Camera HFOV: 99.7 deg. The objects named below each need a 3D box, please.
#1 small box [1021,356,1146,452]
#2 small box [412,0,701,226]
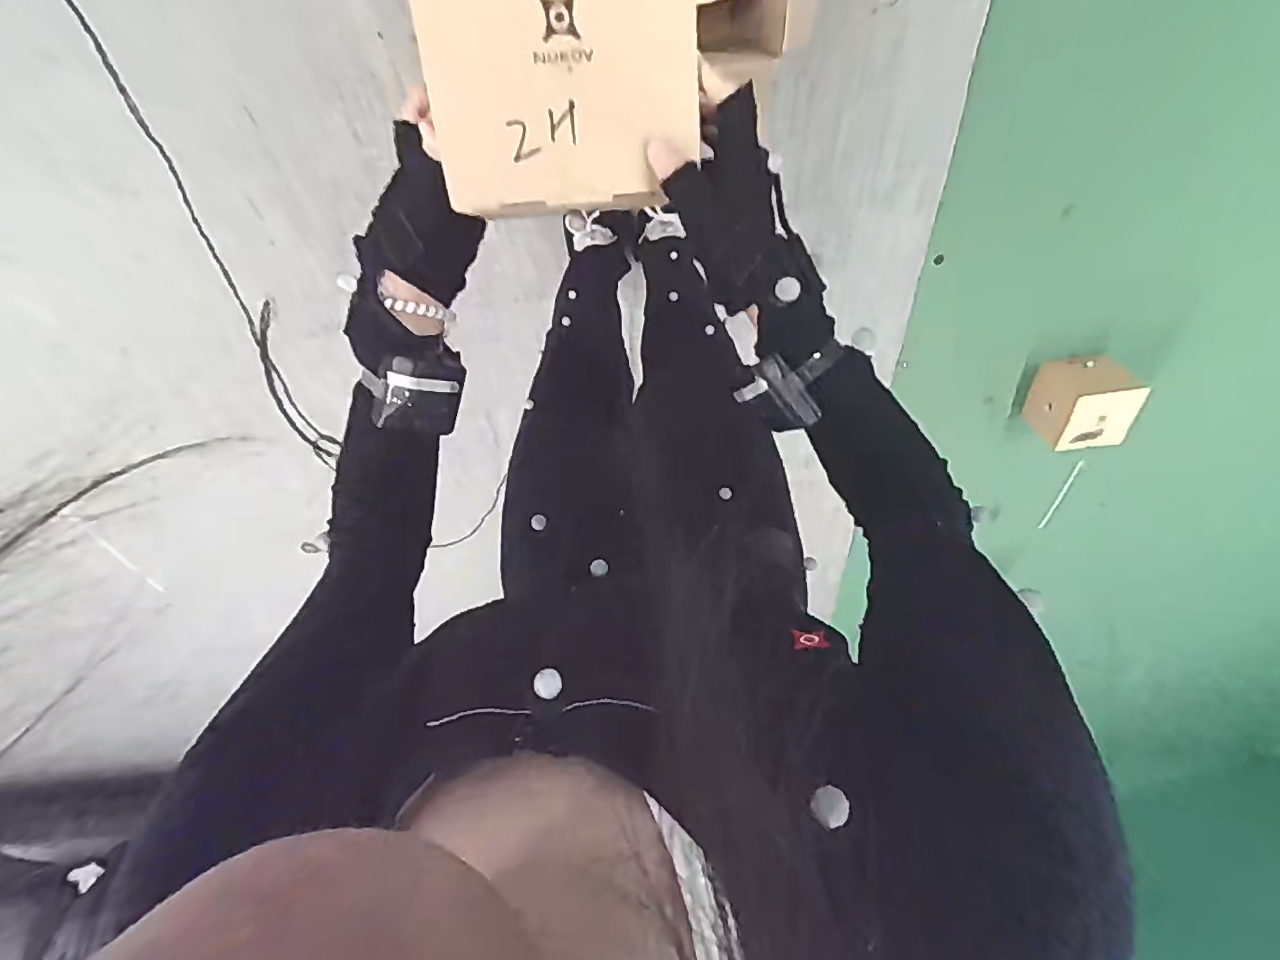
[{"bbox_3d":[1.138,-0.199,1.409,0.168,0.176,0.179,-7,132,4],"label":"small box"},{"bbox_3d":[-0.055,-0.286,0.389,0.168,0.176,0.179,-6,115,-4],"label":"small box"}]
